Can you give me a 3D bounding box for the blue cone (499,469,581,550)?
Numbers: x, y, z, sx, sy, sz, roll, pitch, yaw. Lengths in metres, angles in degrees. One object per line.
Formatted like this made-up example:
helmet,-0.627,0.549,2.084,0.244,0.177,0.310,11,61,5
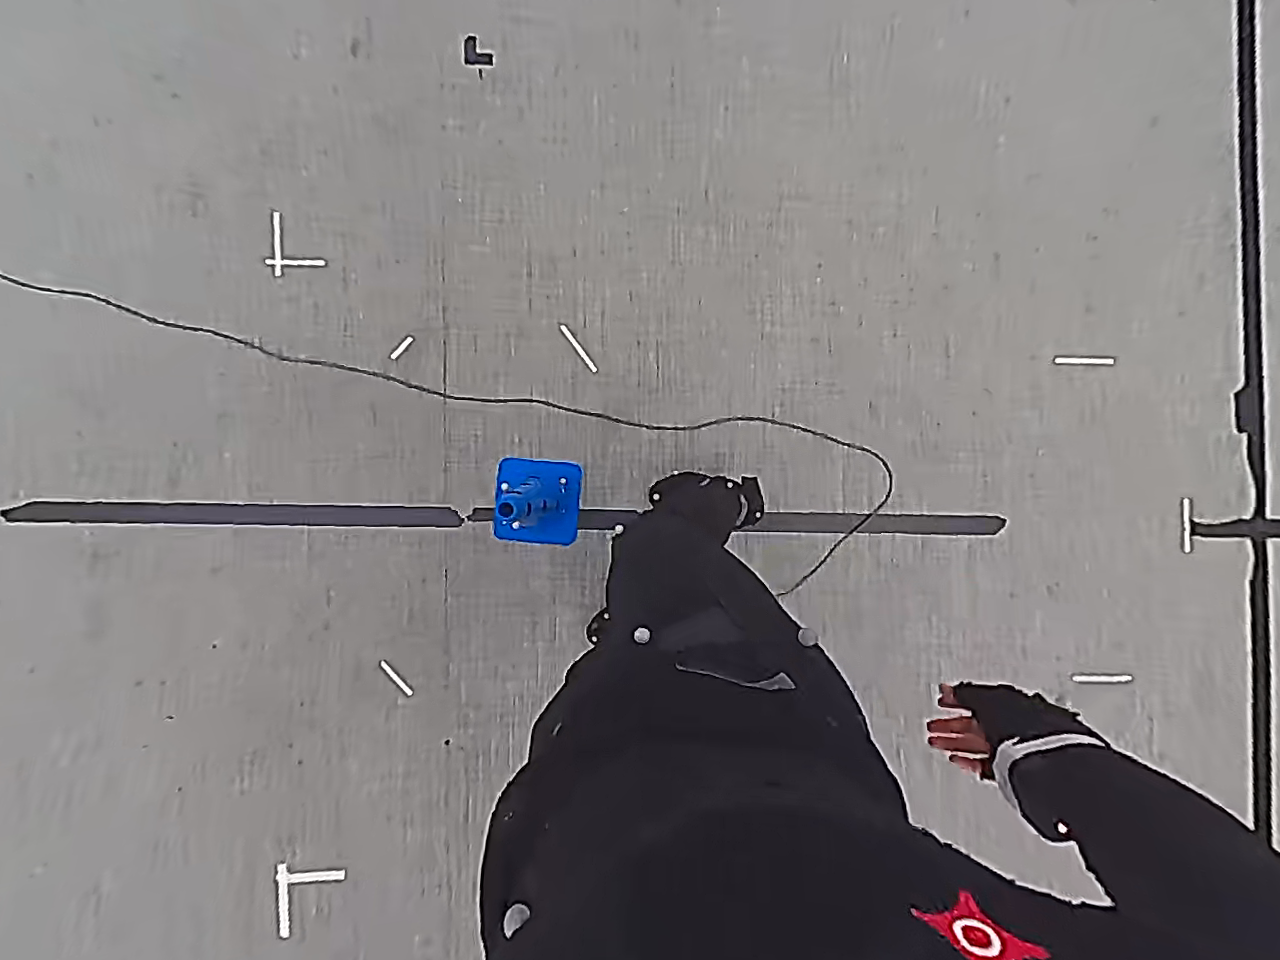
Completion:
blue cone,-0.232,0.064,1.111,0.192,0.380,0.193,3,89,-1
